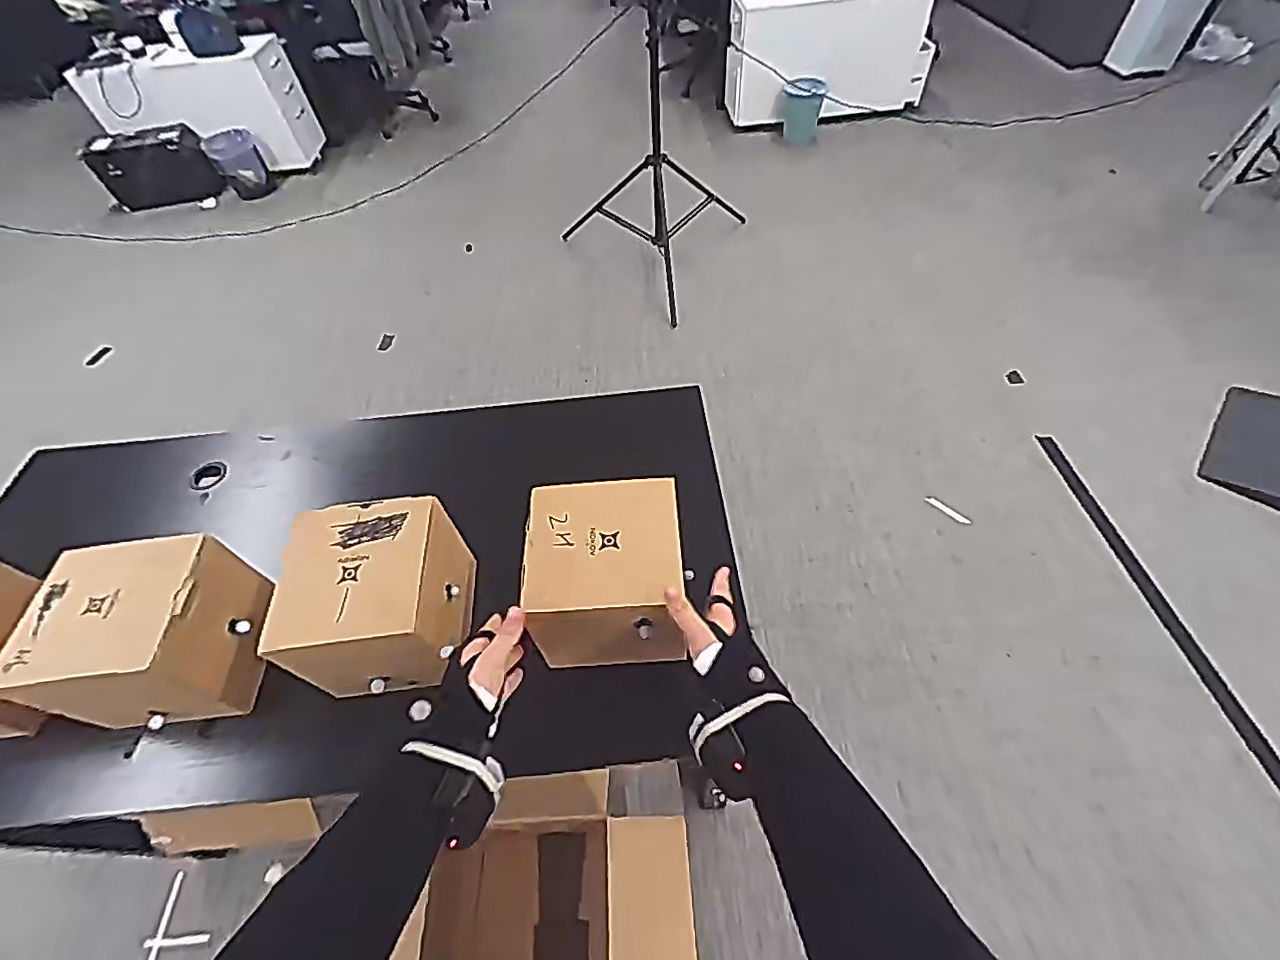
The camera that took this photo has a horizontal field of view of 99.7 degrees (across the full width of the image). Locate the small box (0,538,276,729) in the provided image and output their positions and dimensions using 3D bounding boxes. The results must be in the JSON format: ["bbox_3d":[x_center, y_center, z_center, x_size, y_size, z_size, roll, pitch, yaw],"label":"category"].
[{"bbox_3d":[-0.579,0.189,0.654,0.179,0.176,0.168,-6,52,-2],"label":"small box"}]

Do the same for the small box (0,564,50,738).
[{"bbox_3d":[-0.842,0.213,0.655,0.179,0.176,0.168,-5,54,-1],"label":"small box"}]

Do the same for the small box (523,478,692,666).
[{"bbox_3d":[-0.032,0.117,0.663,0.179,0.176,0.168,-5,52,2],"label":"small box"}]

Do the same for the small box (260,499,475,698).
[{"bbox_3d":[-0.311,0.147,0.664,0.168,0.176,0.179,-7,53,-1],"label":"small box"}]
